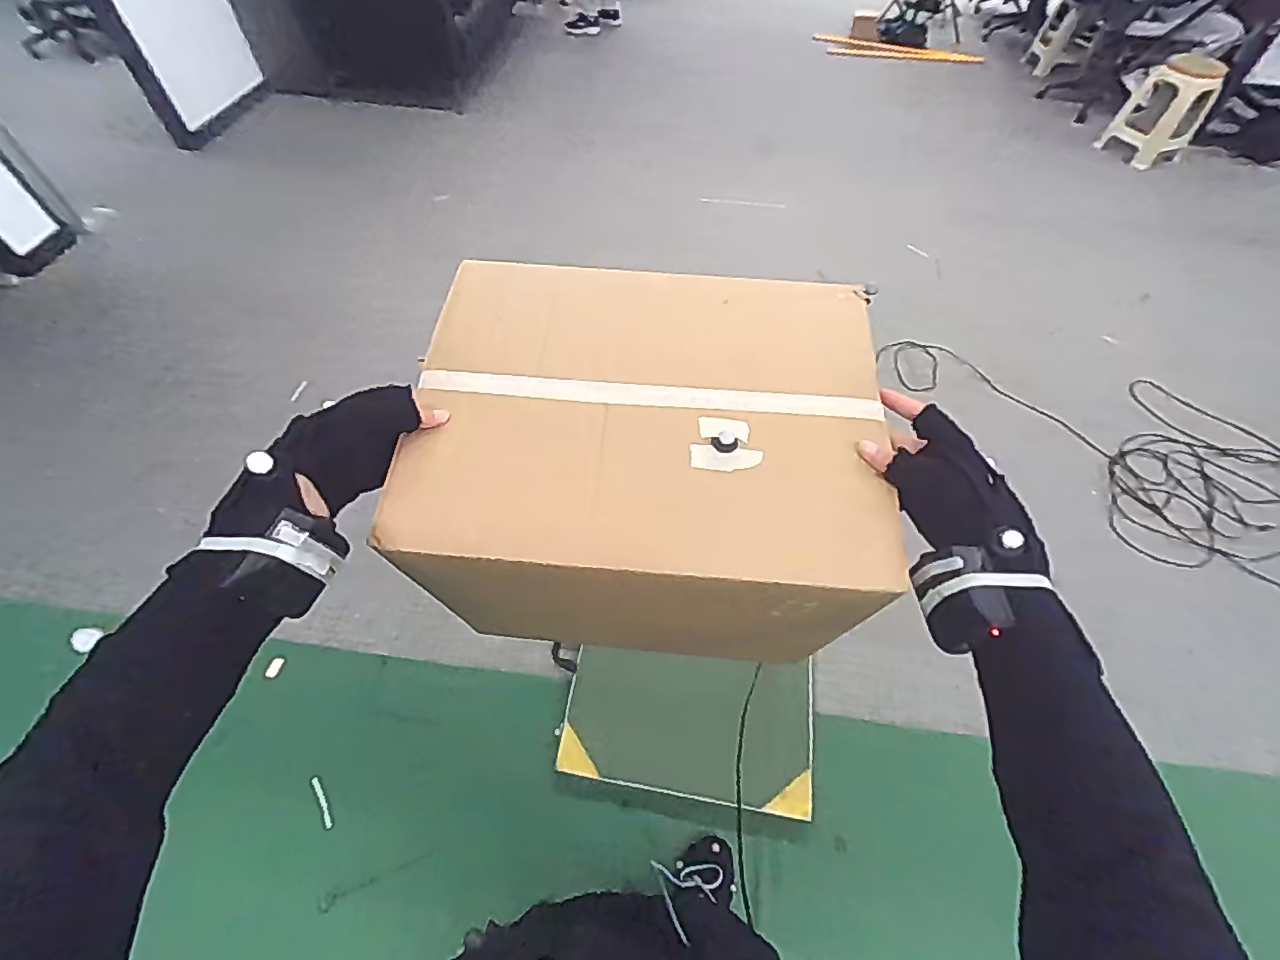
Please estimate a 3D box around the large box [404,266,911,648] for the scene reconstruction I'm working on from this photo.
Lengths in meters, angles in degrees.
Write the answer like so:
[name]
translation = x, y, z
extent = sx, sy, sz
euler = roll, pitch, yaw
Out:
[large box]
translation = 0.018, -0.005, 0.616
extent = 0.408, 0.320, 0.320
euler = 5, 63, 1
